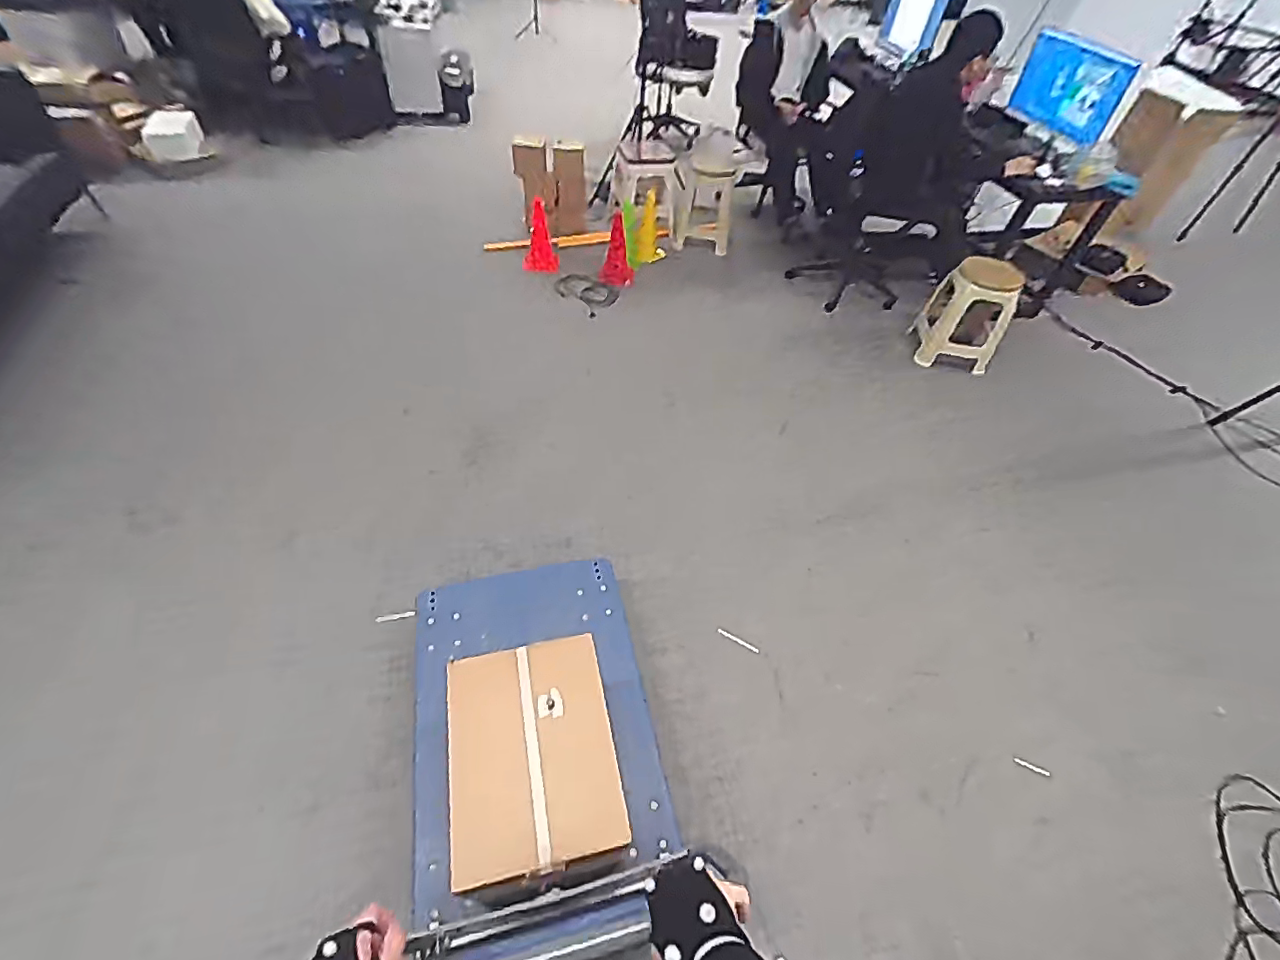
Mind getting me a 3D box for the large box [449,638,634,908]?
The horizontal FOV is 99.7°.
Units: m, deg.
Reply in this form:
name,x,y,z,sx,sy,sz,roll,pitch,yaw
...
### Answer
name,x,y,z,sx,sy,sz,roll,pitch,yaw
large box,-0.213,0.618,1.158,0.320,0.320,0.408,-8,50,-12
